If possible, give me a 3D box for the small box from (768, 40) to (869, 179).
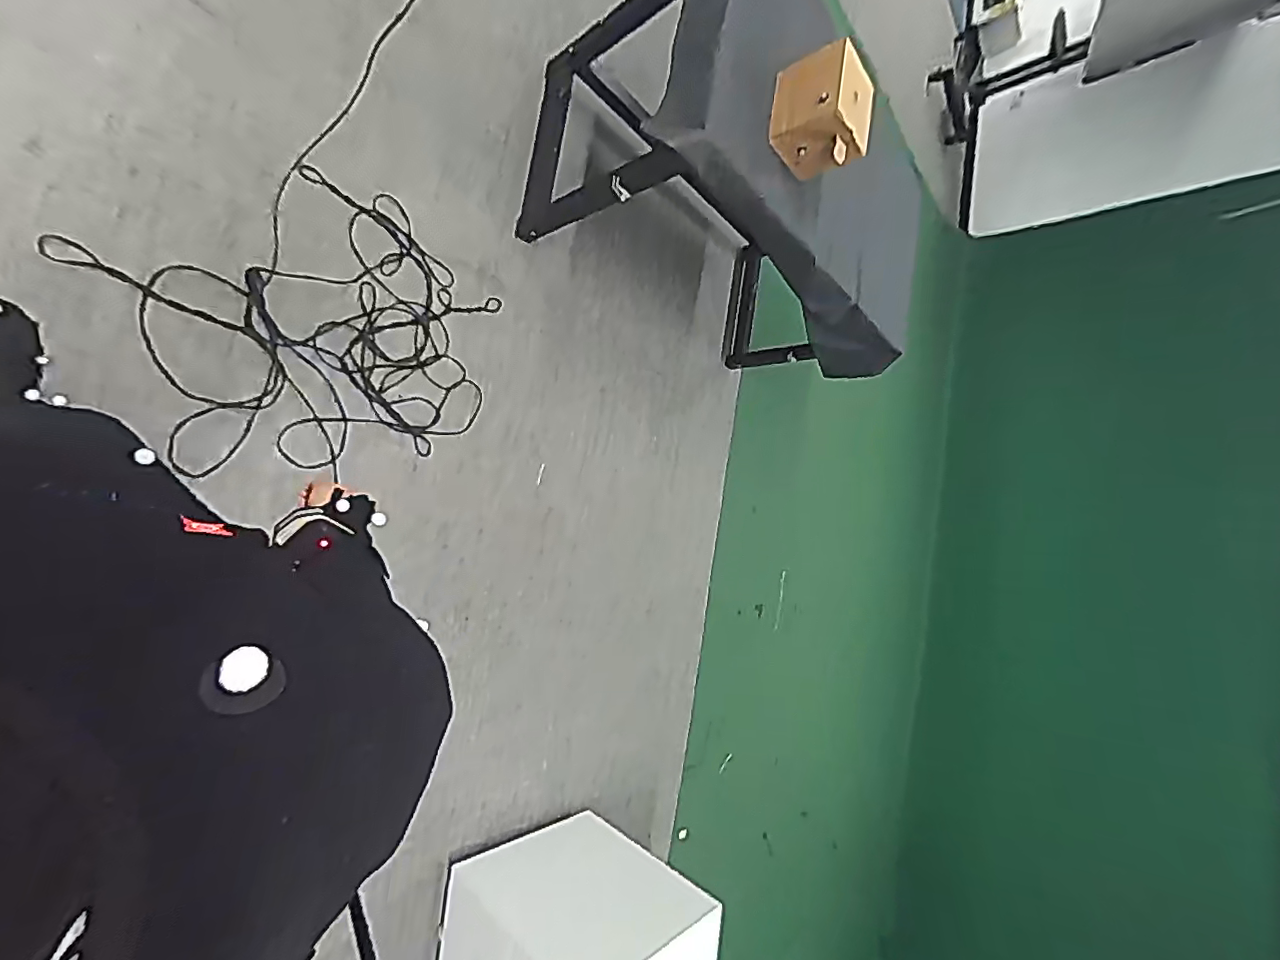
[{"bbox_3d":[0.413,-0.846,1.254,0.168,0.176,0.179,15,82,-47],"label":"small box"}]
